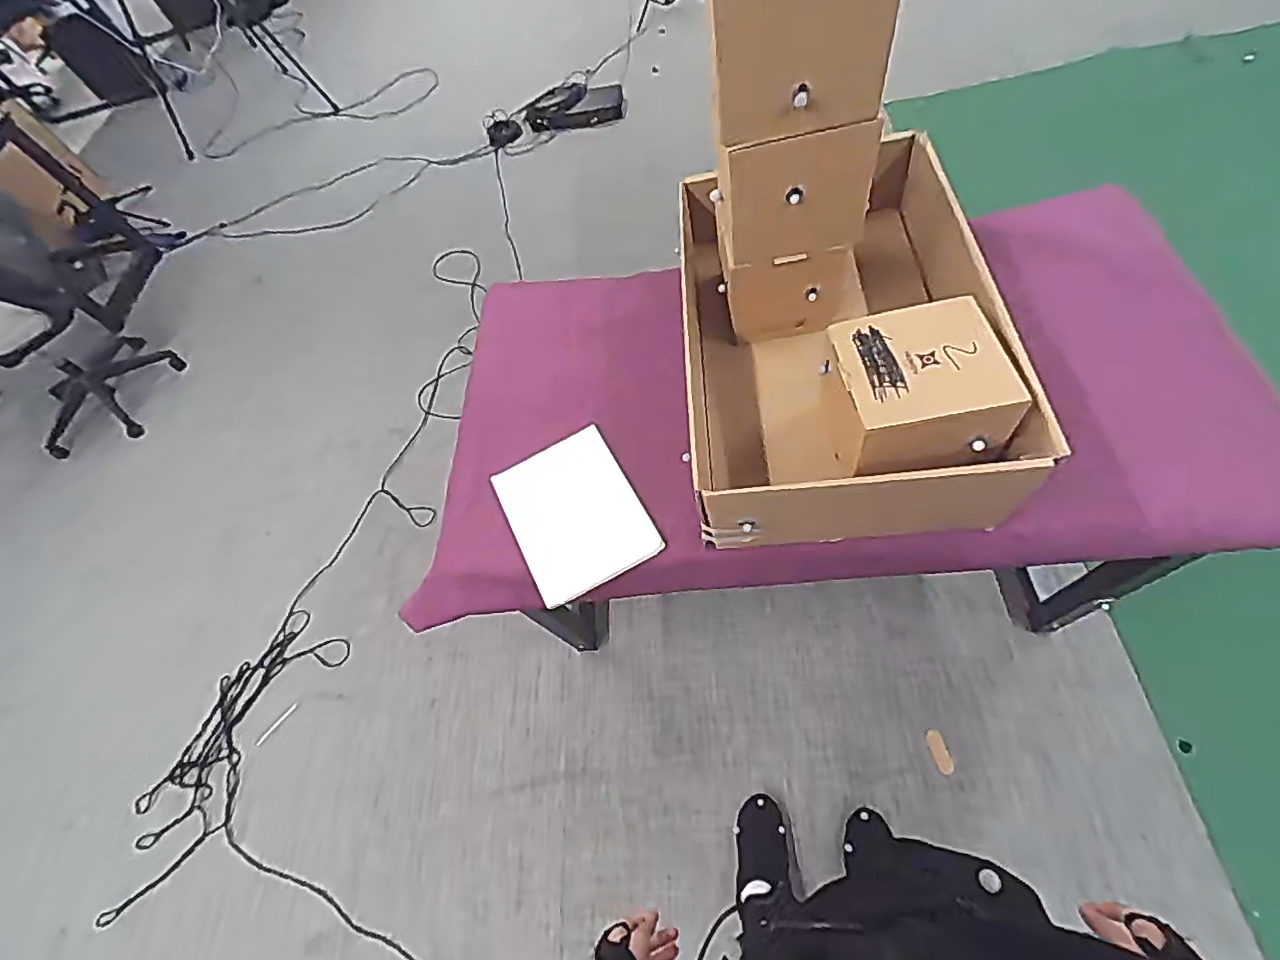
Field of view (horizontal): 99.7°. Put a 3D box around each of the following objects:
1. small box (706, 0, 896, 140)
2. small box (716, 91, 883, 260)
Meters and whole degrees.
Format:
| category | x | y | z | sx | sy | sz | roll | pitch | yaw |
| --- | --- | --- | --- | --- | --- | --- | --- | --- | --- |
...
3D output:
| category | x | y | z | sx | sy | sz | roll | pitch | yaw |
| --- | --- | --- | --- | --- | --- | --- | --- | --- | --- |
| small box | 0.161 | -0.500 | 0.573 | 0.179 | 0.176 | 0.168 | -5 | 61 | 8 |
| small box | 0.195 | -0.422 | 0.714 | 0.179 | 0.176 | 0.168 | -8 | 61 | 8 |
